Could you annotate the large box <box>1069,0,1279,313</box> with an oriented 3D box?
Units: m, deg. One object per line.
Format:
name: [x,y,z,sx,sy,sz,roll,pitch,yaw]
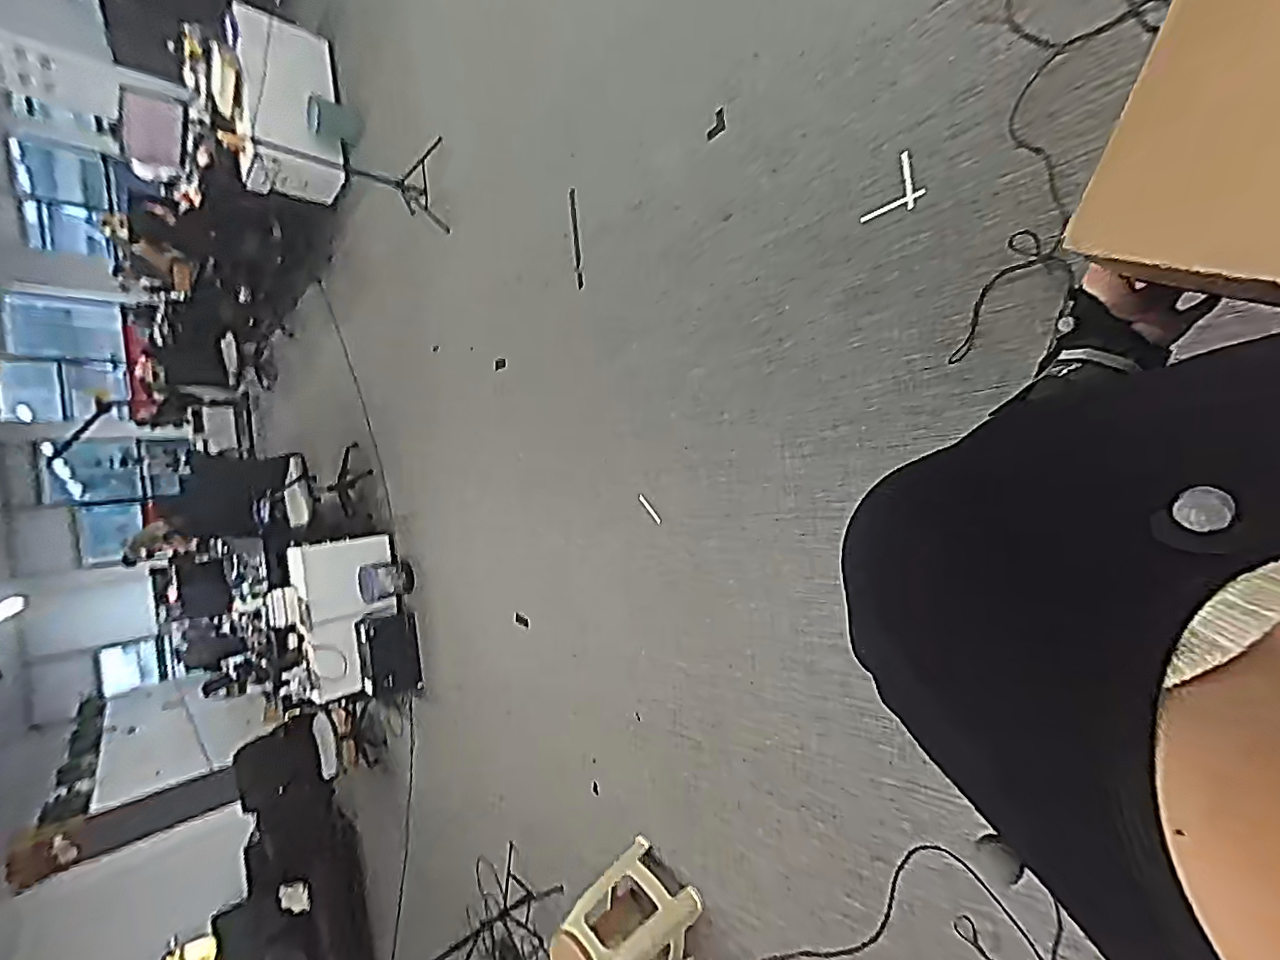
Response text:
large box: [0.518,-0.218,0.240,0.408,0.320,0.320,32,124,39]
